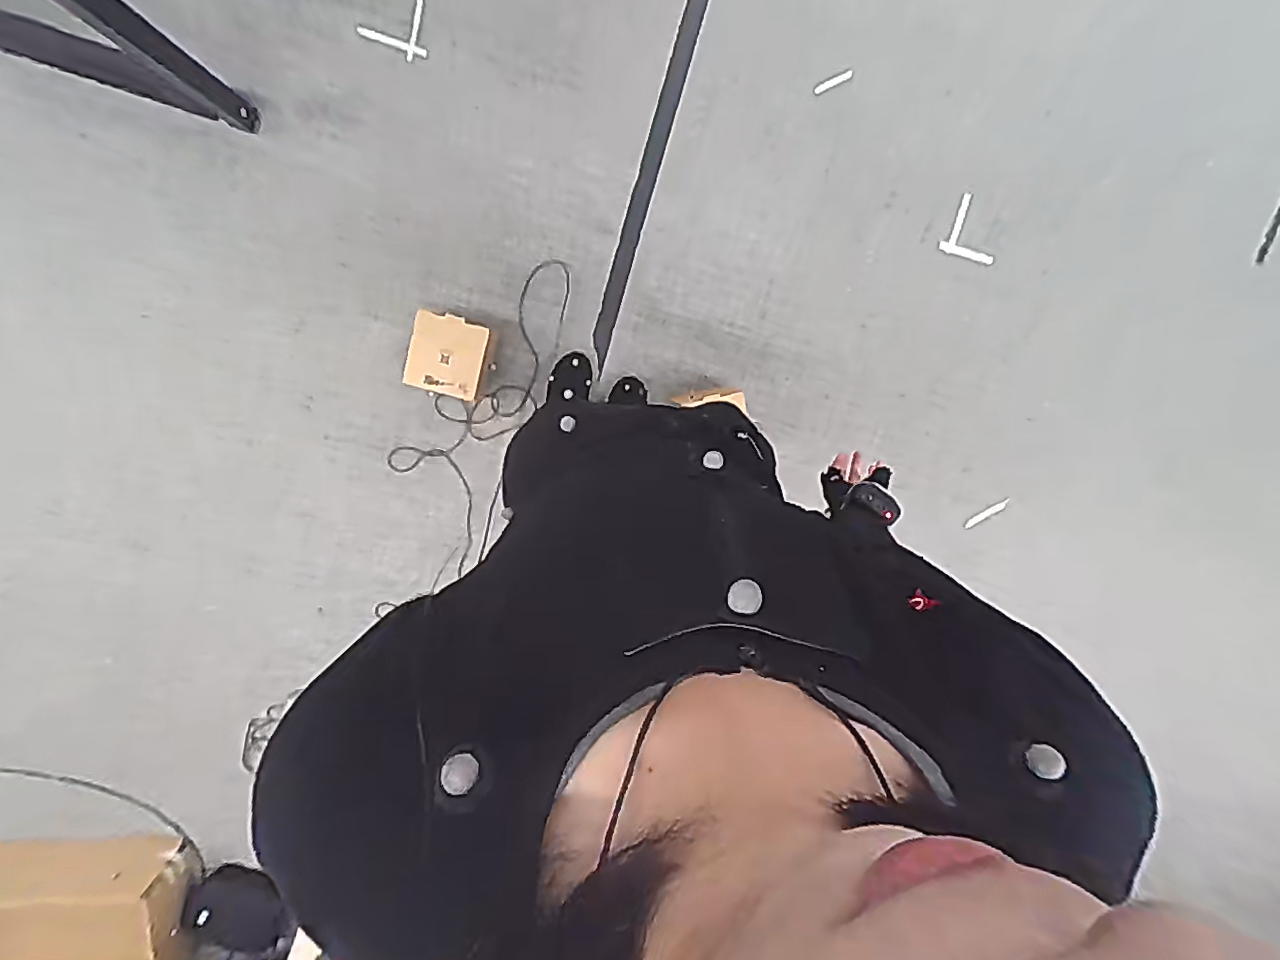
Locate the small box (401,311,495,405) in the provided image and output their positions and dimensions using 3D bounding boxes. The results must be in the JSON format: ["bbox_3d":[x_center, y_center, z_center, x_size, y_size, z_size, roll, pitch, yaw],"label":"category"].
[{"bbox_3d":[-0.457,-0.291,1.313,0.168,0.176,0.179,15,98,-10],"label":"small box"}]

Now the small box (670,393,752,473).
[{"bbox_3d":[0.183,-0.132,1.438,0.168,0.176,0.179,-12,104,-3],"label":"small box"}]
